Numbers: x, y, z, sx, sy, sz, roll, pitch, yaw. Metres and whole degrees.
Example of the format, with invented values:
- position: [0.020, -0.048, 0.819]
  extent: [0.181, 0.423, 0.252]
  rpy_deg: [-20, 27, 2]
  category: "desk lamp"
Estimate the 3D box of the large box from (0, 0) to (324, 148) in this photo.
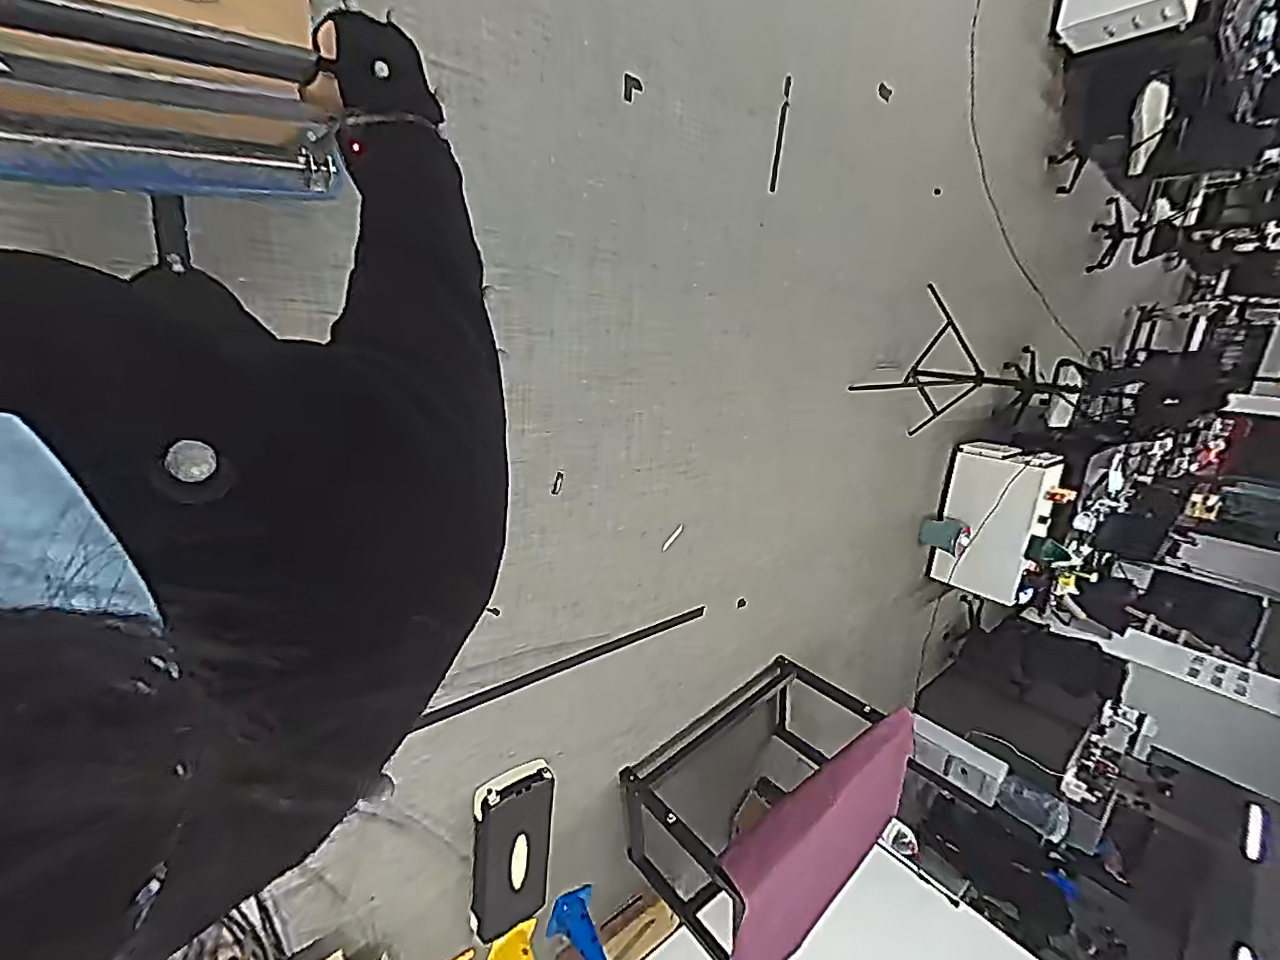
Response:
- position: [-0.720, -0.683, 0.740]
  extent: [0.408, 0.320, 0.320]
  rpy_deg: [-17, 115, -37]
  category: "large box"
